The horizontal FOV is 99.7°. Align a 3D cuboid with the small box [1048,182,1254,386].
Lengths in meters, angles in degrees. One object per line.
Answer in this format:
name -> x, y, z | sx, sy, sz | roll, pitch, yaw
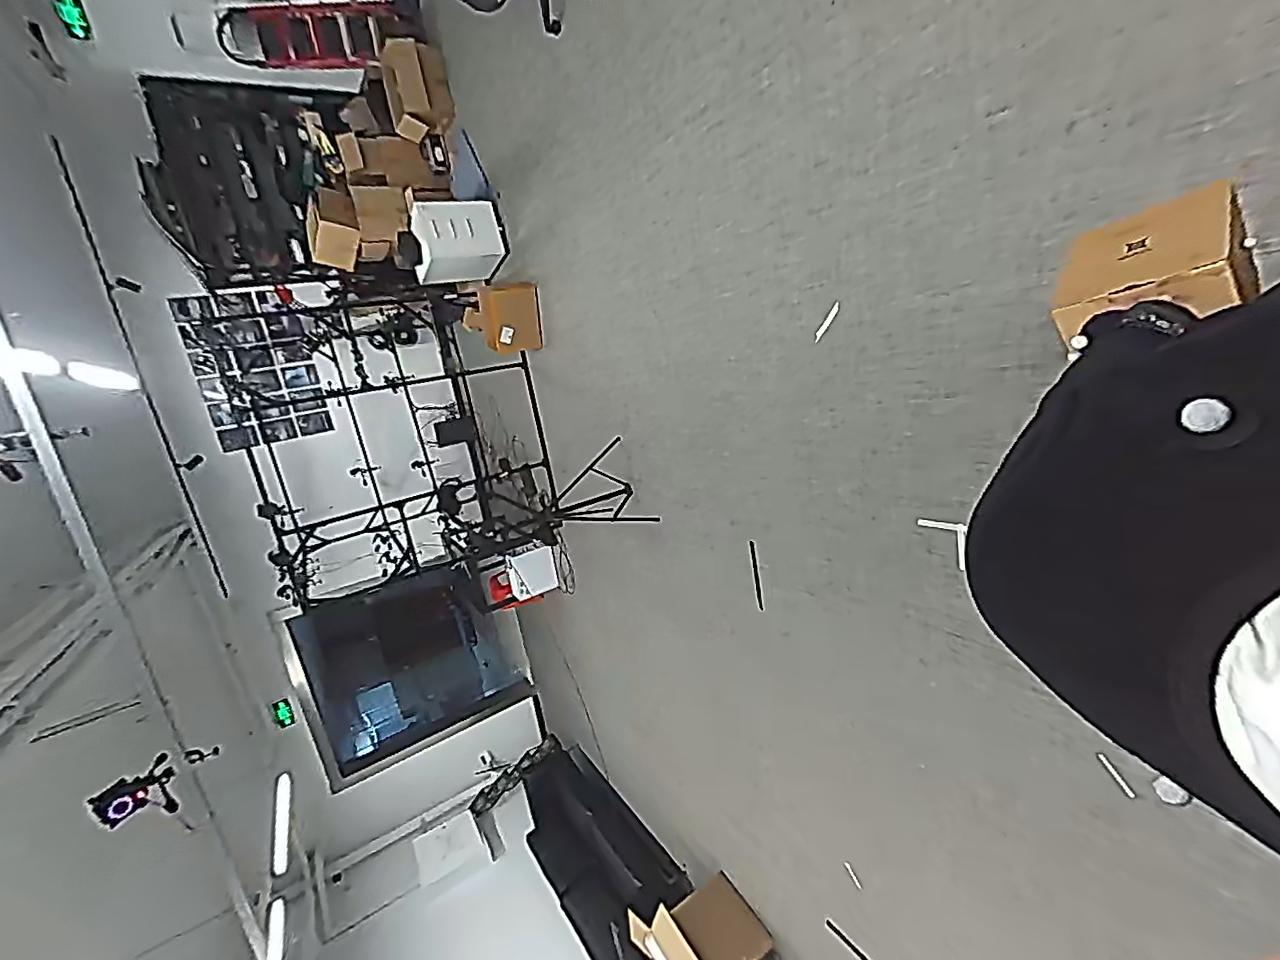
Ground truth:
small box -> 0.691, -0.246, 0.730 | 0.176, 0.179, 0.168 | 44, 152, -23
